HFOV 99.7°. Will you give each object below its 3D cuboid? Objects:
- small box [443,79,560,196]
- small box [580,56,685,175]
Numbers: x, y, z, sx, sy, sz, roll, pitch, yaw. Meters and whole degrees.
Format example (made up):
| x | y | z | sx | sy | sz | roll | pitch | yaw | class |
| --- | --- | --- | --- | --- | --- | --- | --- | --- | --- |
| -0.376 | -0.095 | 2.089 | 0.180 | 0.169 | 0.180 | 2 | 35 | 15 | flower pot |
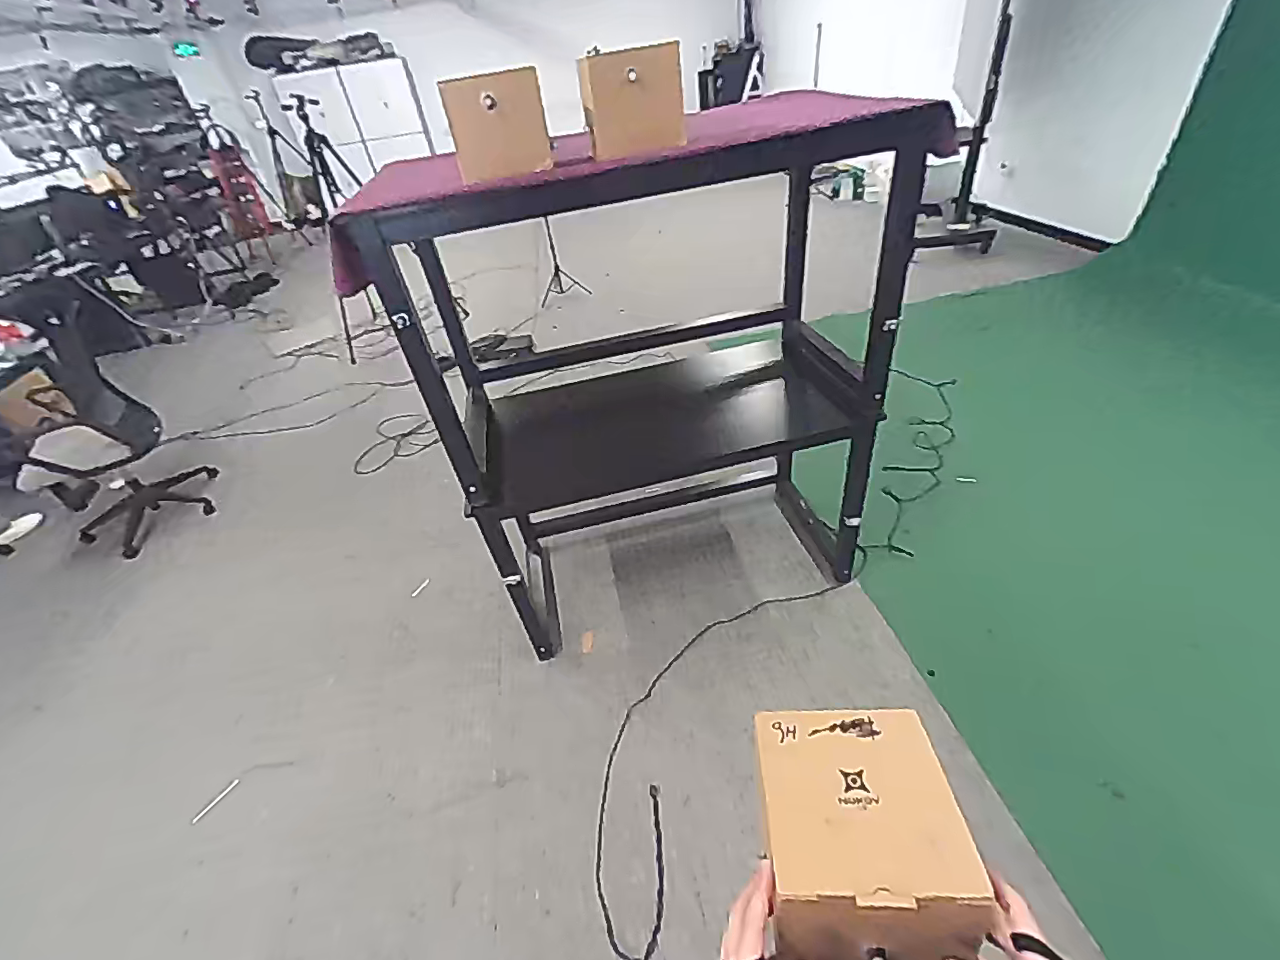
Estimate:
| x | y | z | sx | sy | sz | roll | pitch | yaw | class |
| --- | --- | --- | --- | --- | --- | --- | --- | --- | --- |
| -0.262 | -0.672 | 1.064 | 0.179 | 0.176 | 0.168 | -10 | 37 | -2 | small box |
| -0.012 | -0.729 | 1.084 | 0.179 | 0.176 | 0.168 | -14 | 37 | -4 | small box |
